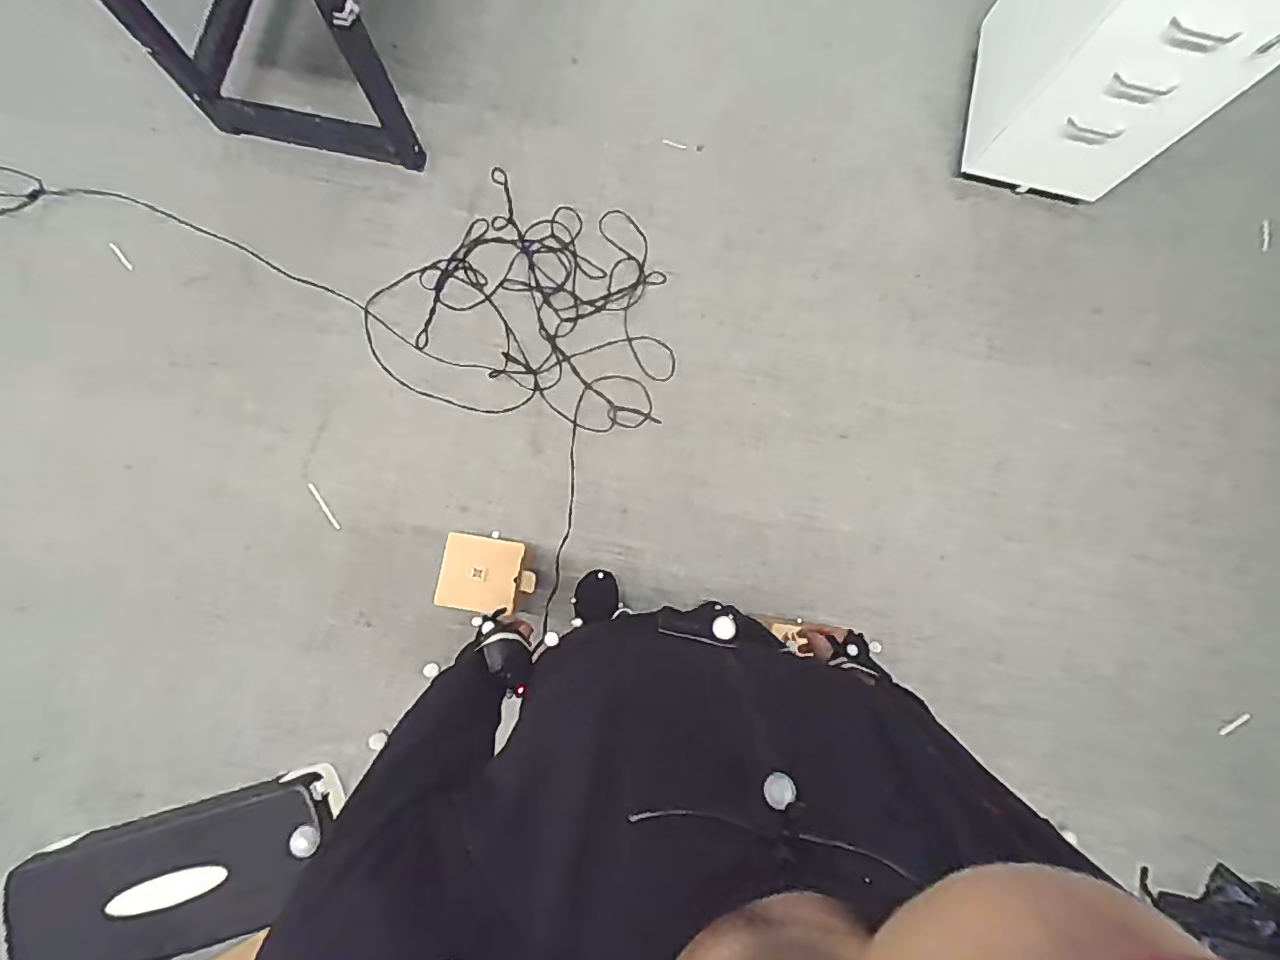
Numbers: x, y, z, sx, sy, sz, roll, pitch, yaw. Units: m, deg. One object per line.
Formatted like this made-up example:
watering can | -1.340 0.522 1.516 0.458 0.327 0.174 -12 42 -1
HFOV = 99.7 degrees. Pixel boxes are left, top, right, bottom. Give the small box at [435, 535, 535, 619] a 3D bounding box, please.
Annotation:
small box | -0.358 0.229 1.283 0.179 0.176 0.168 9 81 -2
